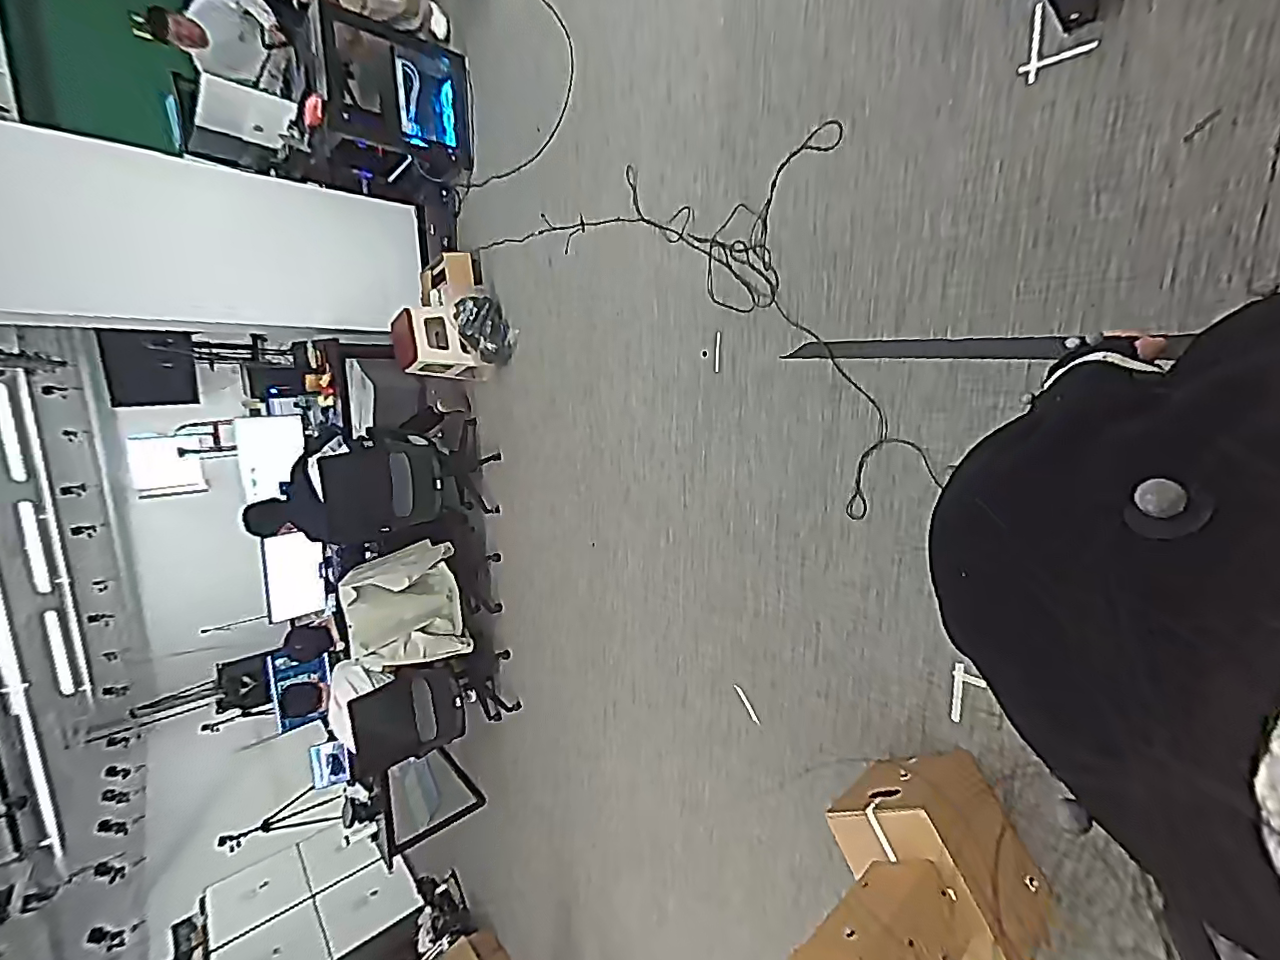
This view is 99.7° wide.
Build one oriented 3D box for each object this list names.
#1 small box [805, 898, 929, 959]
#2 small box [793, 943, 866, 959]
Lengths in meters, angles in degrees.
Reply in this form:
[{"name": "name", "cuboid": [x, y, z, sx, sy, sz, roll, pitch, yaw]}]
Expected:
[{"name": "small box", "cuboid": [0.499, 1.033, 1.155, 0.179, 0.176, 0.168, -45, 64, 44]}, {"name": "small box", "cuboid": [0.374, 1.052, 1.051, 0.179, 0.176, 0.168, -44, 65, 46]}]
